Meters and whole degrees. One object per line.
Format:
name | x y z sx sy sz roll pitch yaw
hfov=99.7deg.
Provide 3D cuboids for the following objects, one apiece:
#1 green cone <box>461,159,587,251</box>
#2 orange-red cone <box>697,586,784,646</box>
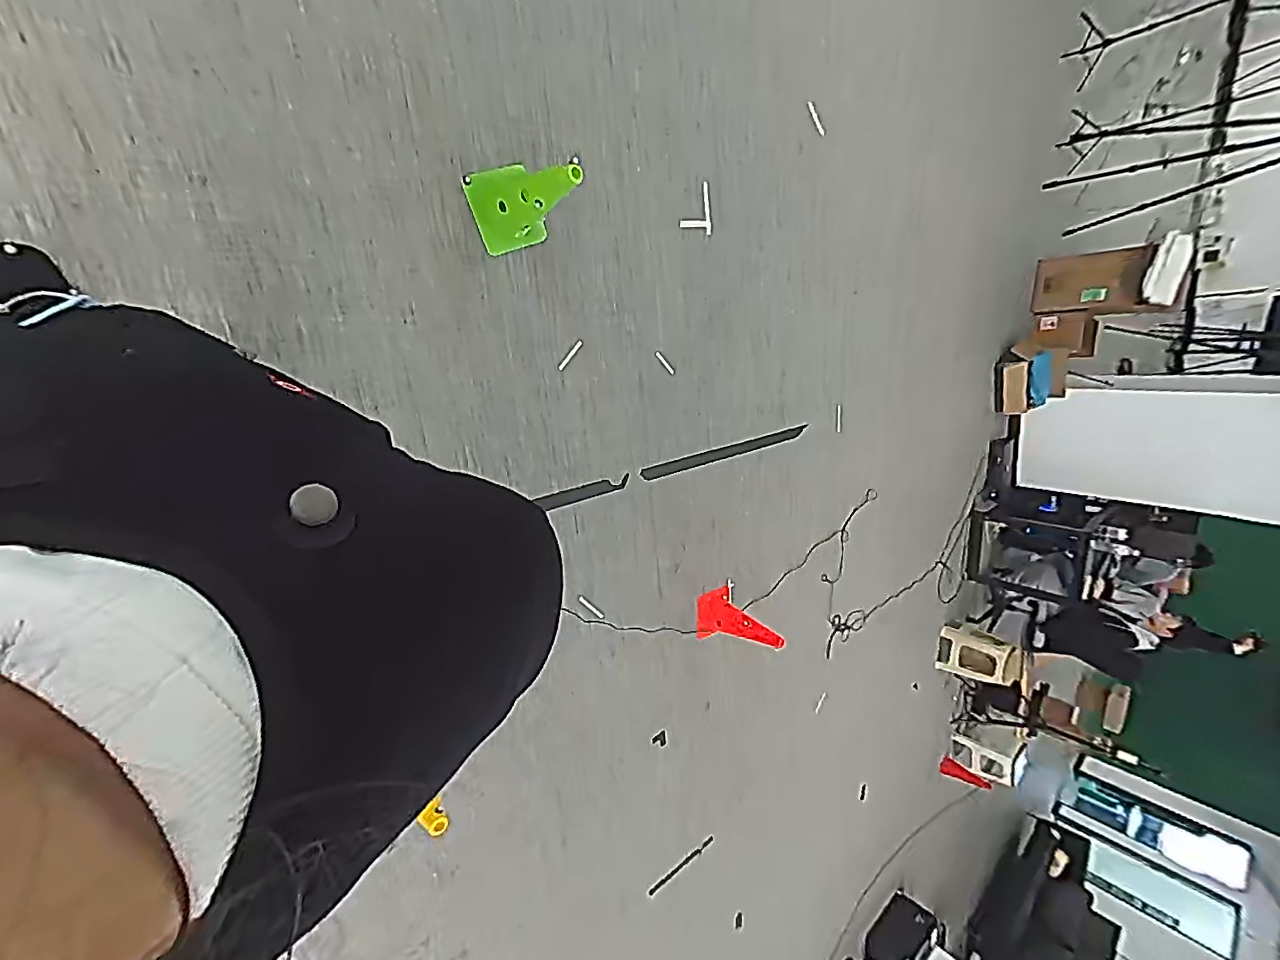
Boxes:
green cone | -0.254 -0.716 1.338 0.202 0.368 0.200 -35 120 -31
orange-red cone | 0.422 0.585 2.175 0.199 0.360 0.198 -8 103 -38
